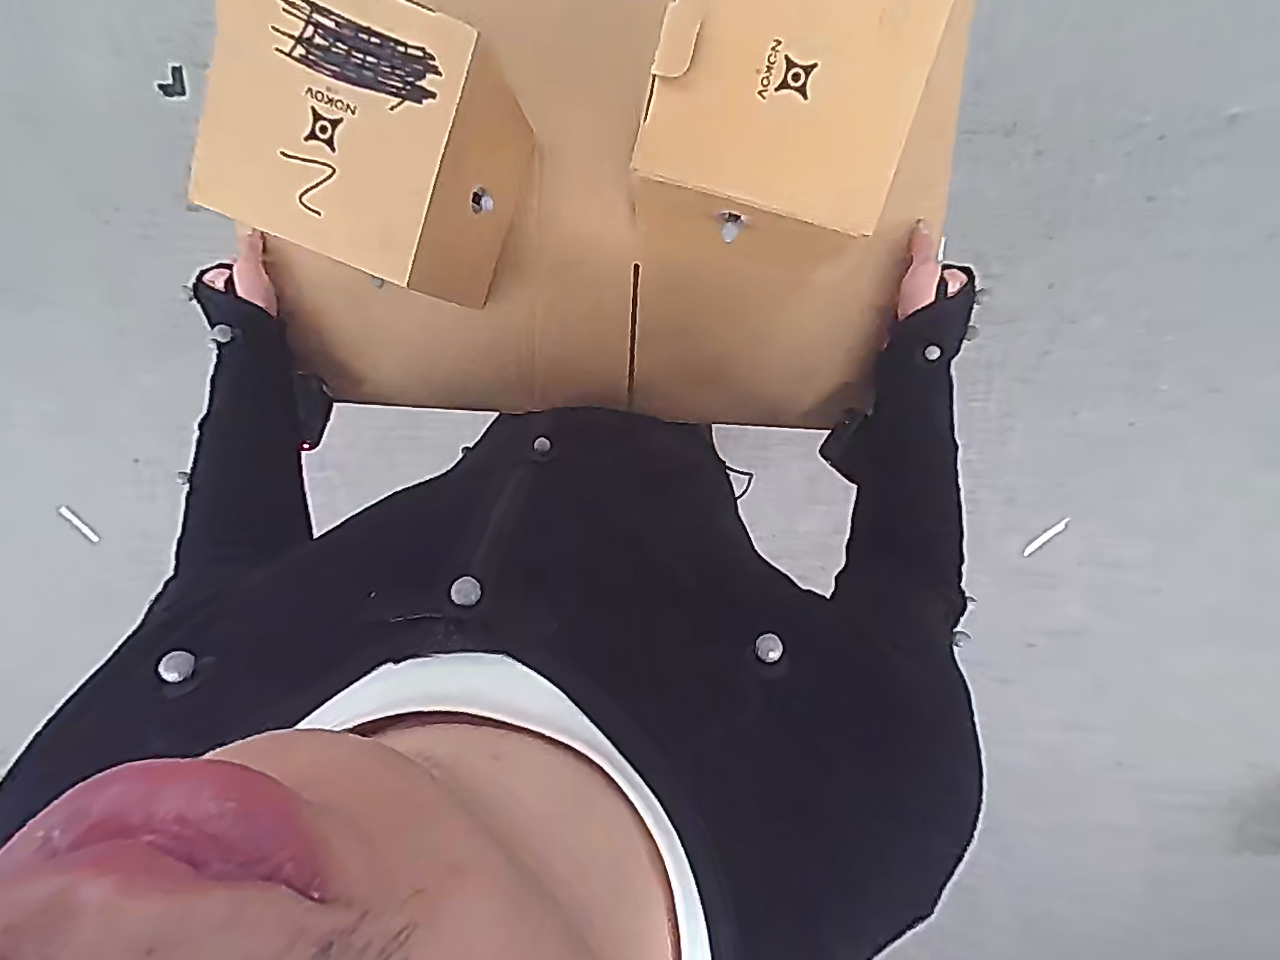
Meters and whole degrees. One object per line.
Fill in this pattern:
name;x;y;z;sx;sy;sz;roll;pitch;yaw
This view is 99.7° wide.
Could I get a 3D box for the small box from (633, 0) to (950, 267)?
small box;0.104;-0.288;0.446;0.179;0.176;0.168;16;102;1
